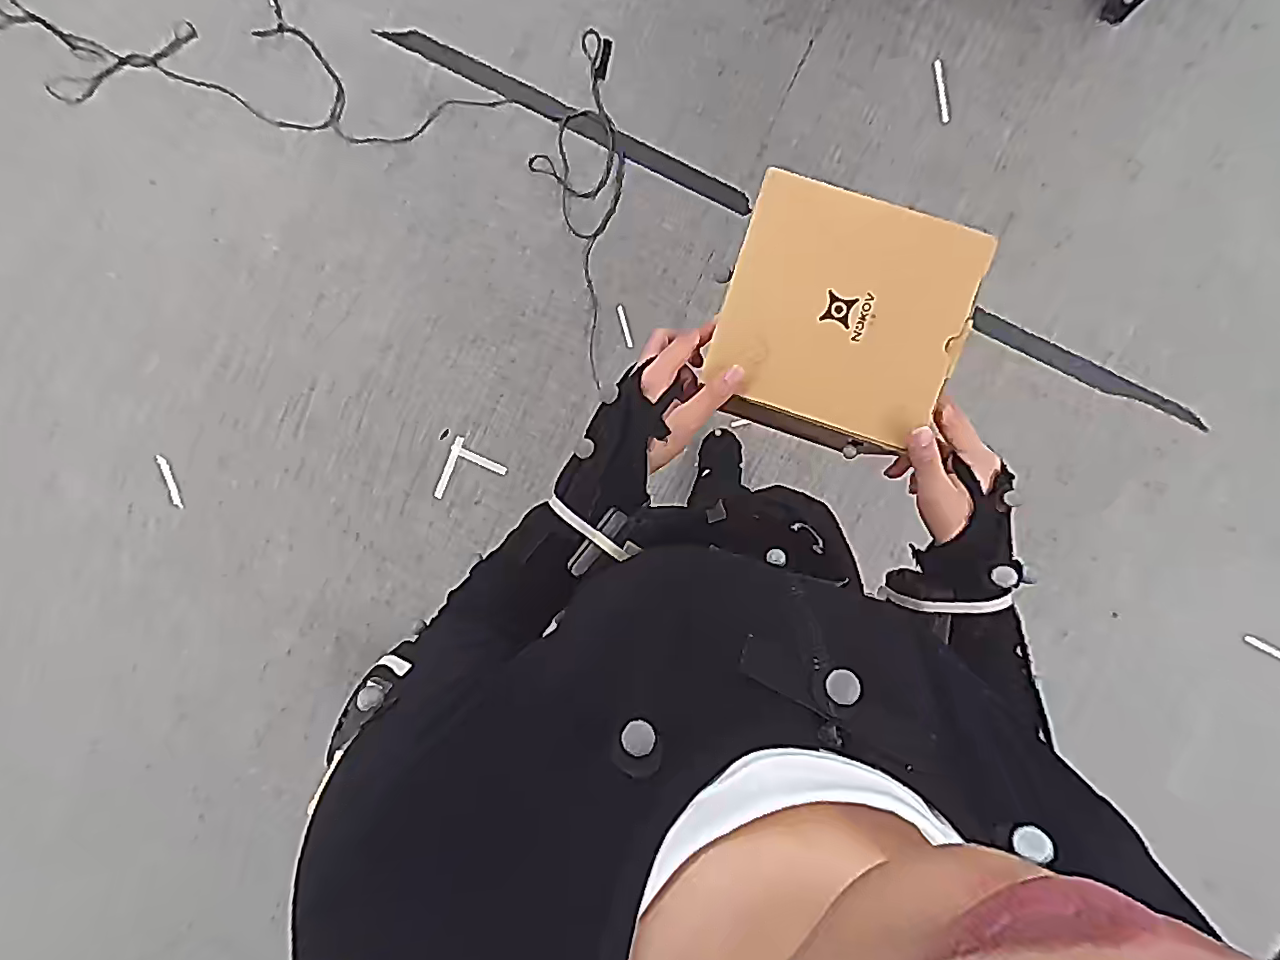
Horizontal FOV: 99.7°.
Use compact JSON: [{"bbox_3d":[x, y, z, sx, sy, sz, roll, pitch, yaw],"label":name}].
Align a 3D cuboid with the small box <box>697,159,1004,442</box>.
[{"bbox_3d":[0.156,-0.133,0.470,0.179,0.176,0.168,18,95,1],"label":"small box"}]
